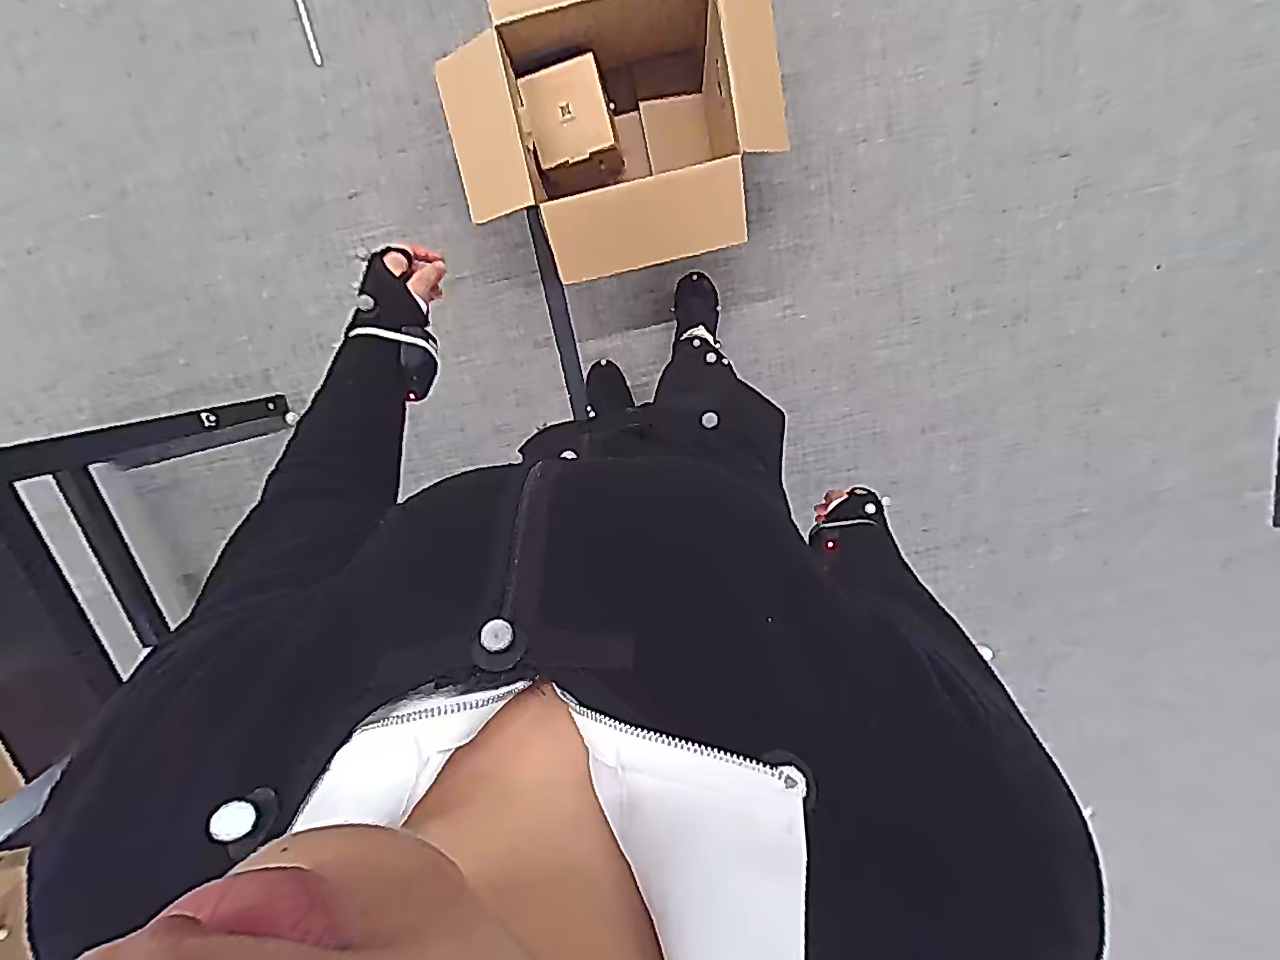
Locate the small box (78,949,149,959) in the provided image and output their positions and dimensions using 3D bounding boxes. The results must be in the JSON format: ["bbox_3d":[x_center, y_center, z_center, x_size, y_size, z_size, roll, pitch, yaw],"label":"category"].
[{"bbox_3d":[-1.001,0.988,0.958,0.179,0.176,0.168,-14,105,4],"label":"small box"}]
